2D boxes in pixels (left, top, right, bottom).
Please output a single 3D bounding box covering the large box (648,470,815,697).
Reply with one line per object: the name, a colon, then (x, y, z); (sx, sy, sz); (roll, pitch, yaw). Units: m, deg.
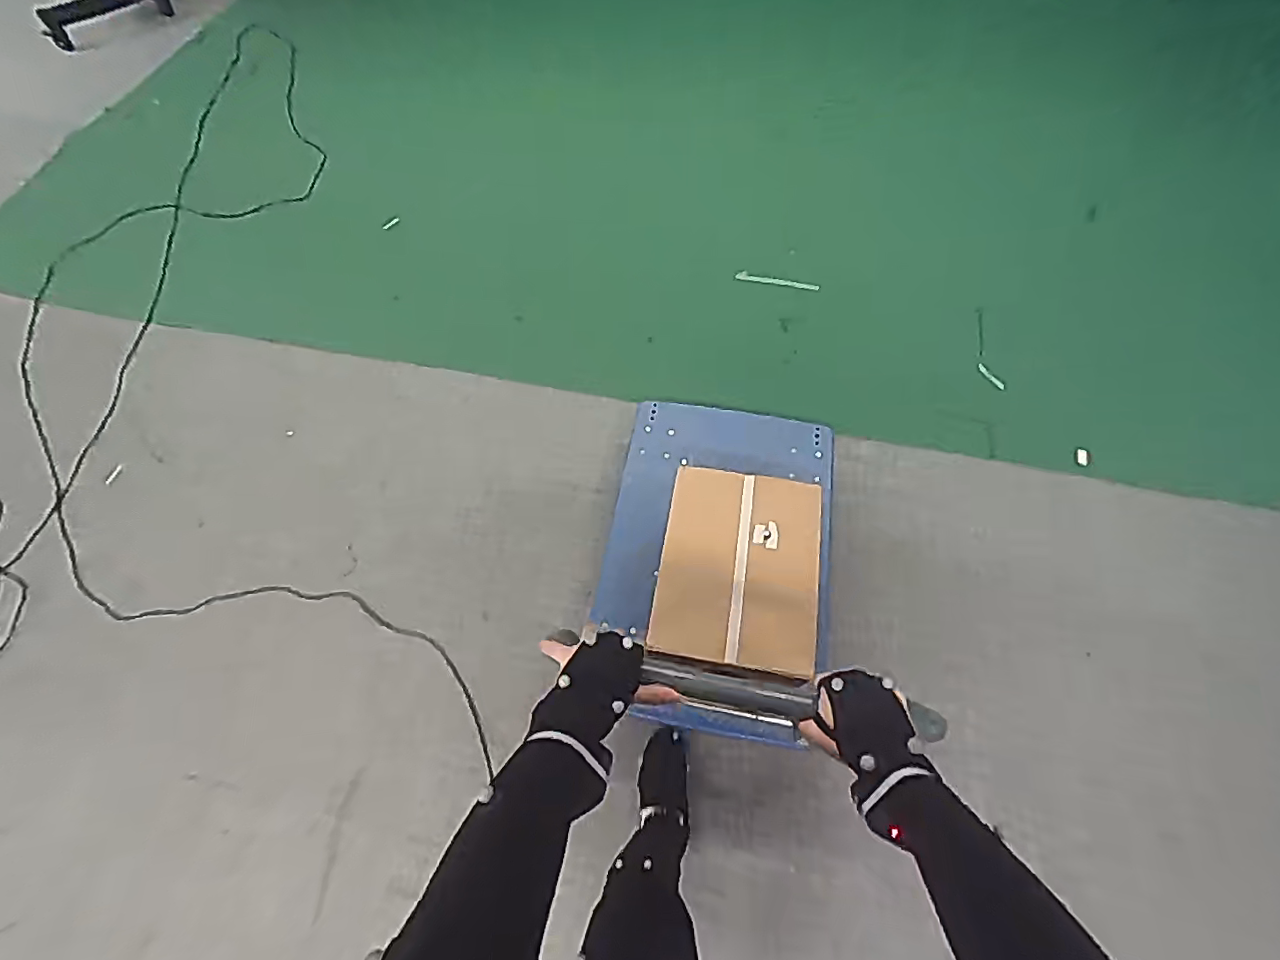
large box: (0.200, 0.241, 1.224); (0.320, 0.320, 0.408); (9, 62, 5)
